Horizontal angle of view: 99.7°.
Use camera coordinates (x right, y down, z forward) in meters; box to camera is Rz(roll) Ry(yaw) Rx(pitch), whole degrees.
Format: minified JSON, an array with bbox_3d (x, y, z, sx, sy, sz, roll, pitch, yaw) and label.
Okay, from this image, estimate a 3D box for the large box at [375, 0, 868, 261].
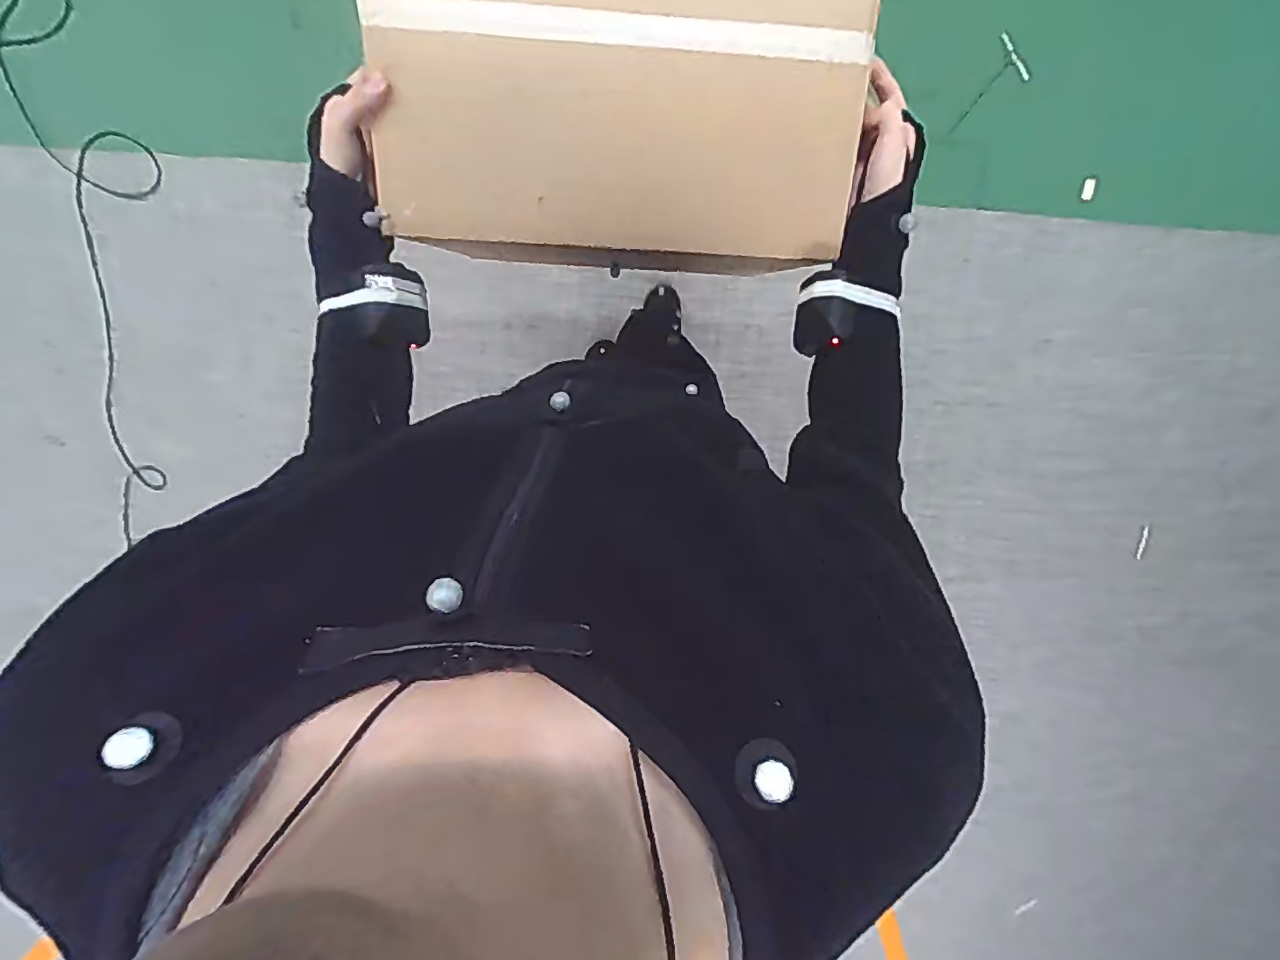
[{"bbox_3d":[-0.017,-0.412,0.582,0.408,0.320,0.320,2,108,-3],"label":"large box"}]
